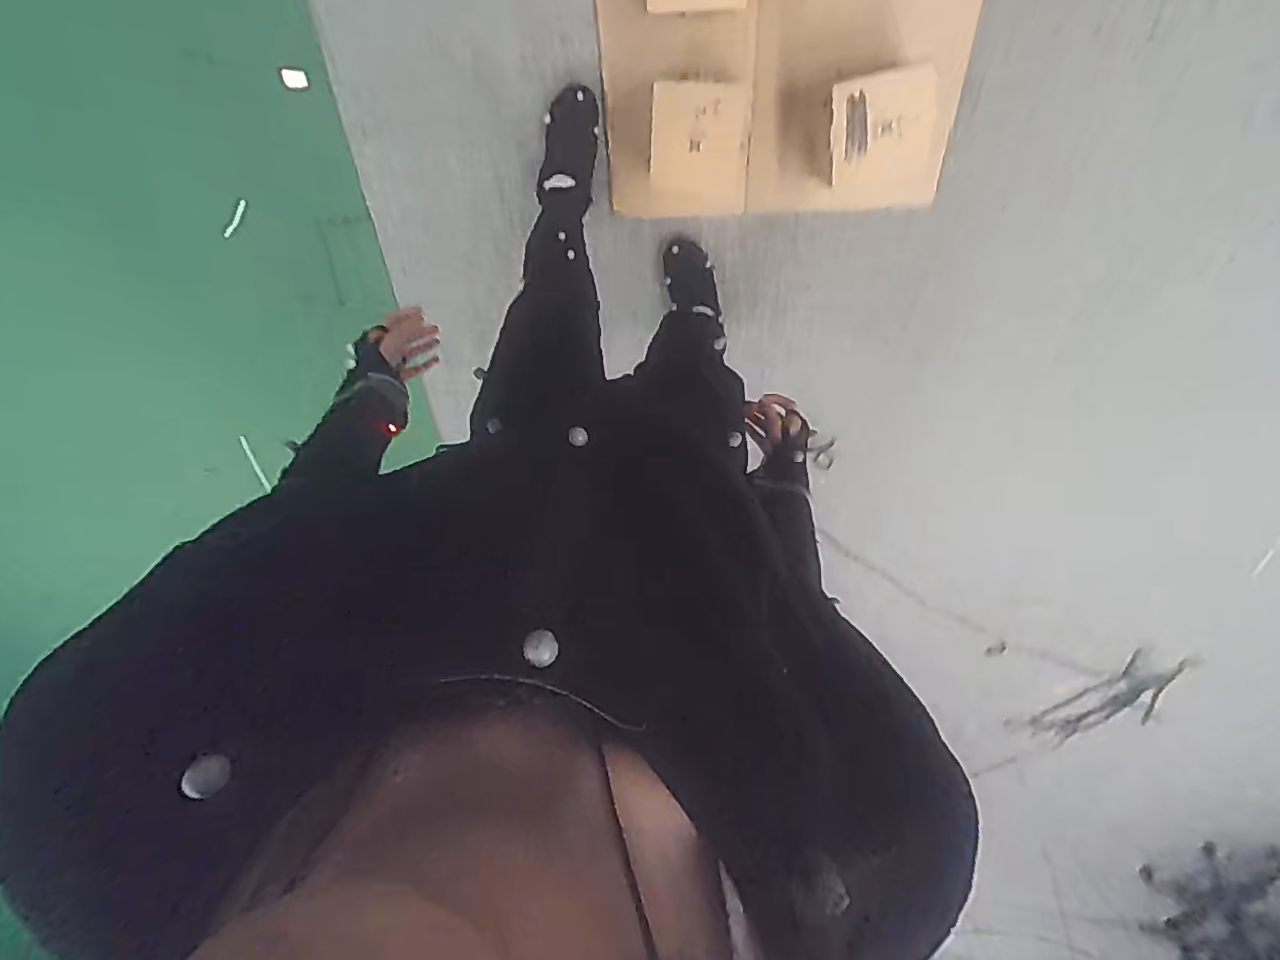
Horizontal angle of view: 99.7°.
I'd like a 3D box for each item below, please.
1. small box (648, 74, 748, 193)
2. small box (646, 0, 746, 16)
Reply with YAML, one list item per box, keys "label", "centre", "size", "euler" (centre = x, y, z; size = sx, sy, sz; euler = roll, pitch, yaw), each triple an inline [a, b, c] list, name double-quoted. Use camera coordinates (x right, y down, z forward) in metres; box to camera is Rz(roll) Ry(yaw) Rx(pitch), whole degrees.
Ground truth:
- label: "small box"
  centre: [0.107, -0.672, 1.047]
  size: [0.168, 0.176, 0.179]
  euler: [4, 126, 1]
- label: "small box"
  centre: [0.097, -0.887, 0.893]
  size: [0.168, 0.176, 0.179]
  euler: [1, 125, 3]
